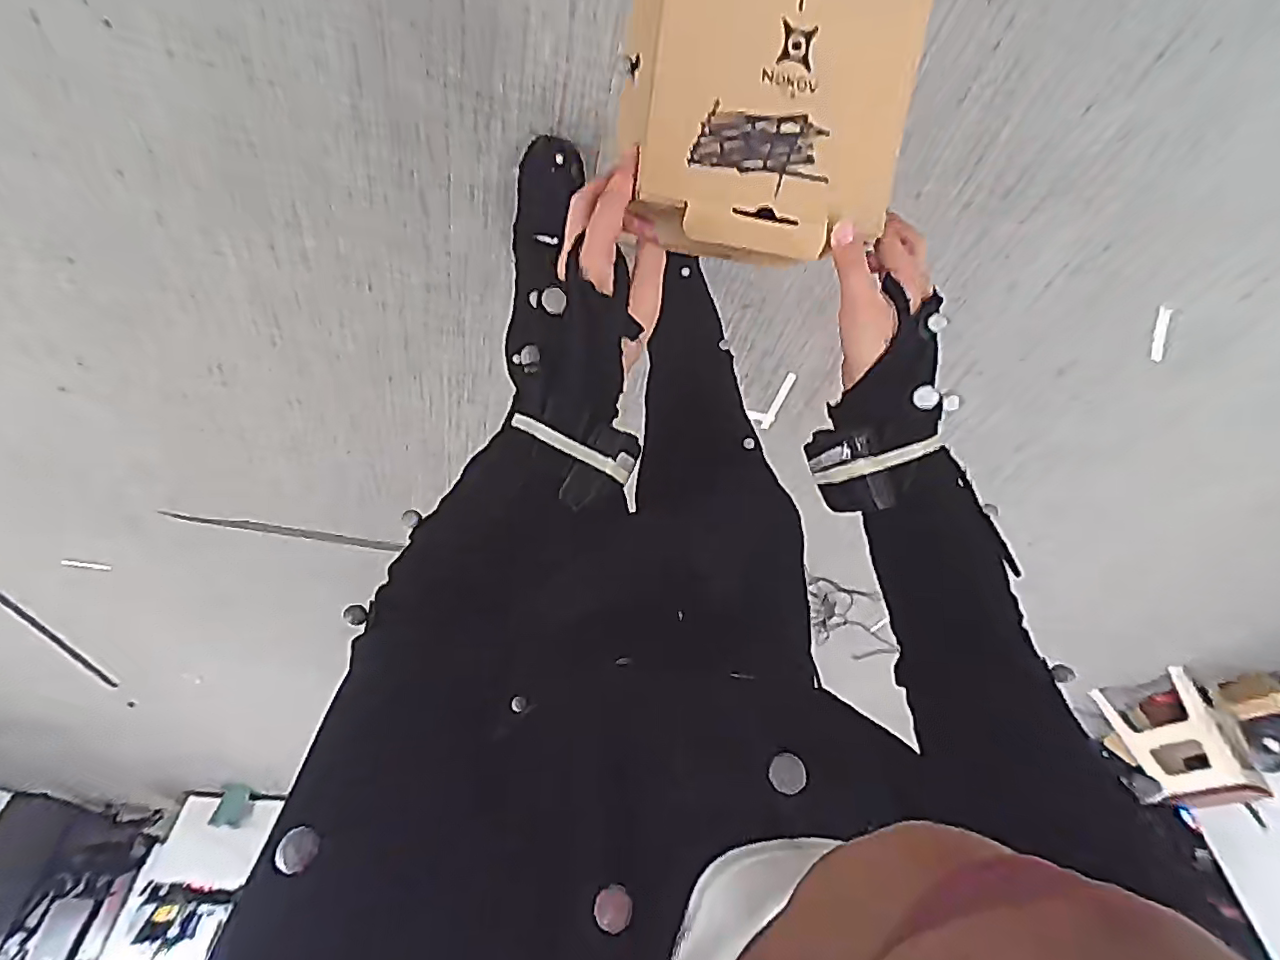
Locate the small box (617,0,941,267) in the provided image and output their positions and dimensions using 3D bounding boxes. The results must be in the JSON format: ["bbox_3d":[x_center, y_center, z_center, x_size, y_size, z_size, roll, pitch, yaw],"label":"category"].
[{"bbox_3d":[0.079,-0.264,0.396,0.168,0.176,0.179,4,104,-11],"label":"small box"}]
